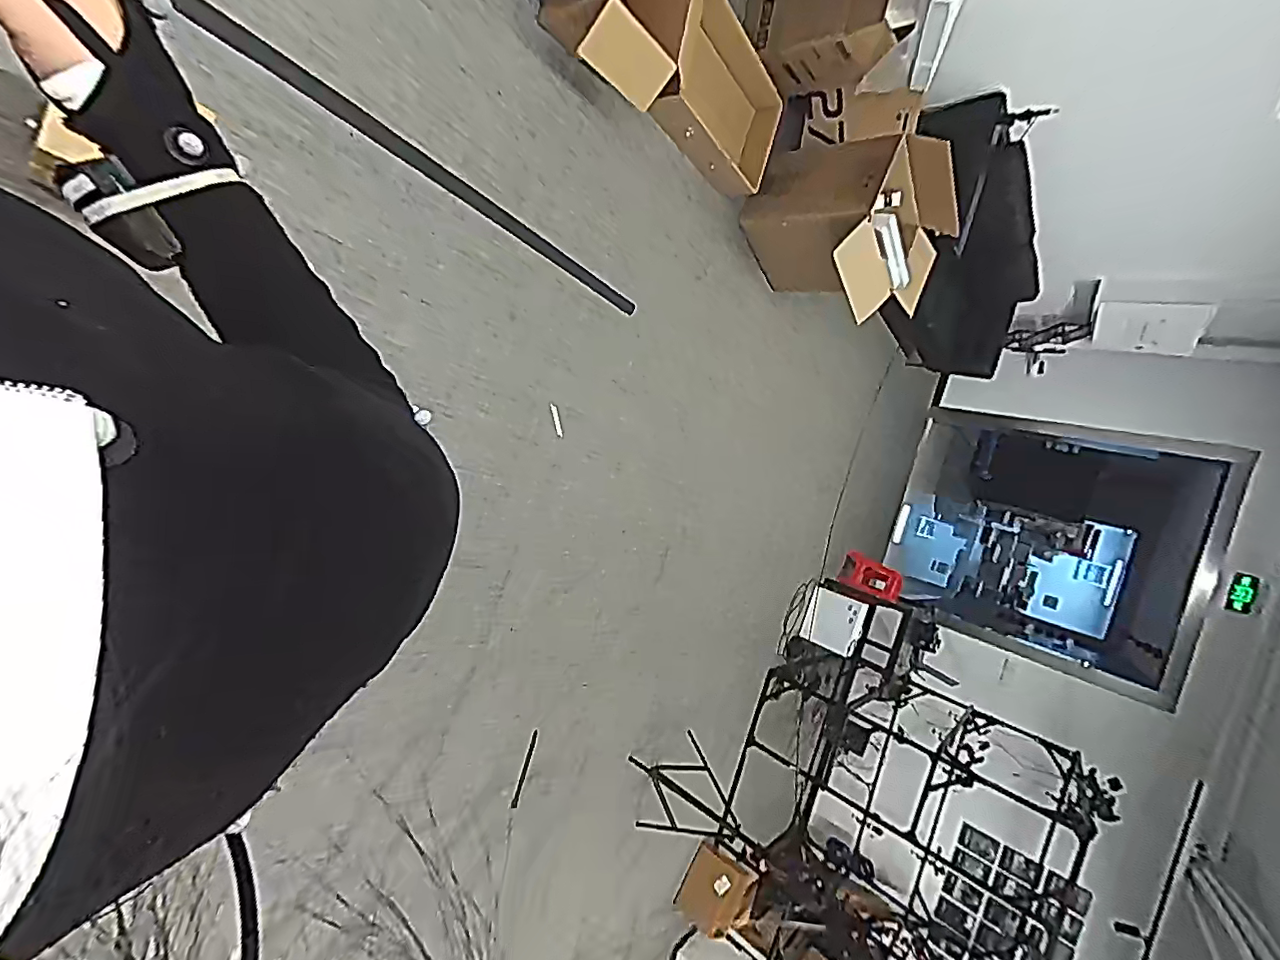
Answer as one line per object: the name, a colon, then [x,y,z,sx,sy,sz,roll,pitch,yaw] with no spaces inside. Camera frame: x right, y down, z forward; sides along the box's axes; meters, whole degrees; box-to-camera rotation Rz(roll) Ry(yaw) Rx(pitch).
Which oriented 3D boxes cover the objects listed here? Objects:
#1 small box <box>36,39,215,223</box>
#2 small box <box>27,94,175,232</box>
small box: [-0.819,-0.536,0.859,0.168,0.176,0.179,18,91,-51]
small box: [-0.941,-0.563,0.963,0.179,0.176,0.168,15,92,-52]
